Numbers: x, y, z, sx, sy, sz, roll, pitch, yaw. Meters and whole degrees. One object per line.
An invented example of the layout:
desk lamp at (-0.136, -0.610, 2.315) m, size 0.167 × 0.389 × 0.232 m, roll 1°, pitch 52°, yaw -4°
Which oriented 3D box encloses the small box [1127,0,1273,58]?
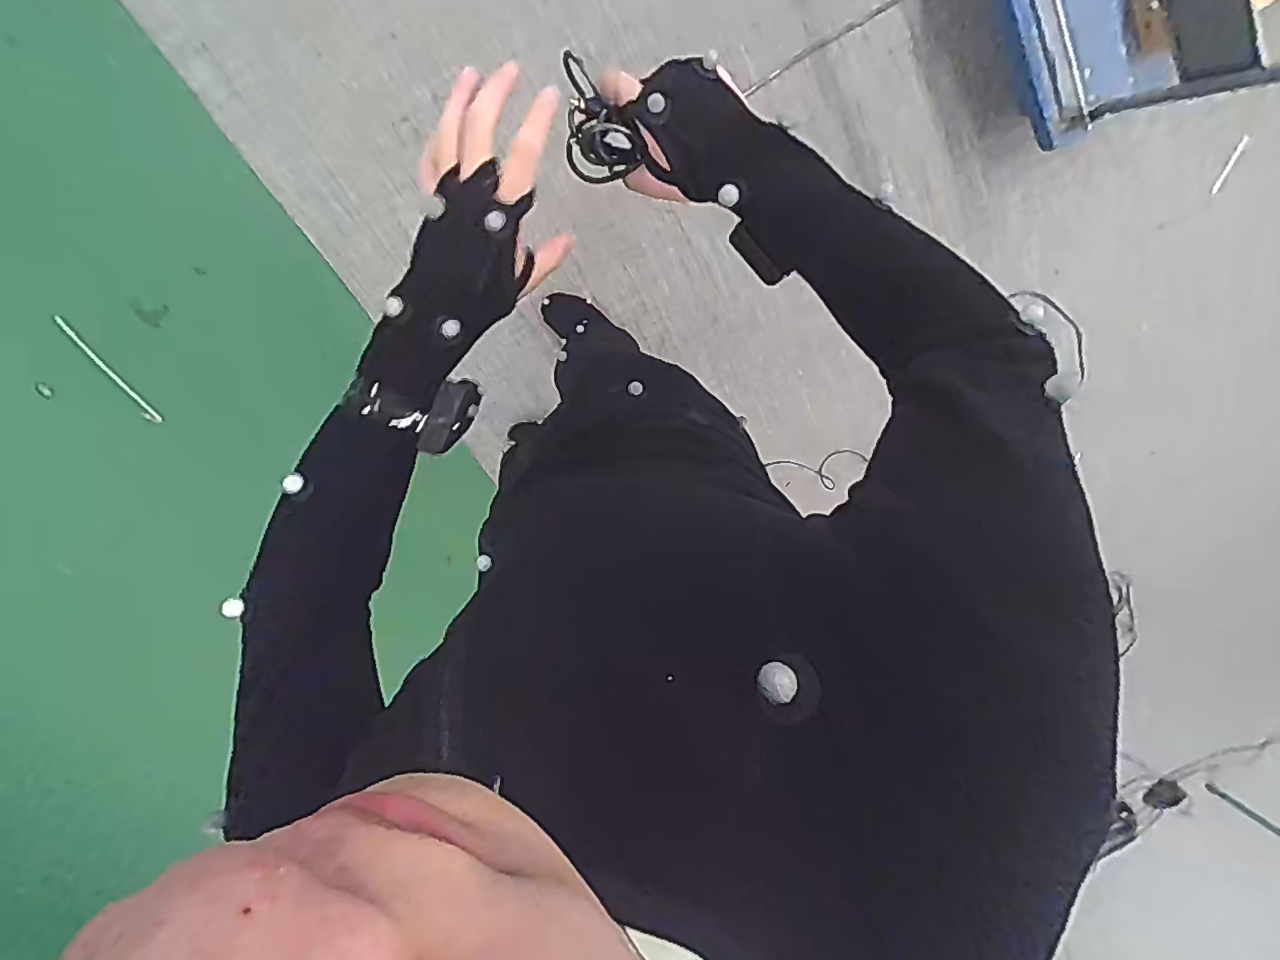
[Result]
small box at (1.117, -0.982, 1.058) m, size 0.179 × 0.176 × 0.168 m, roll -32°, pitch 113°, yaw 10°
